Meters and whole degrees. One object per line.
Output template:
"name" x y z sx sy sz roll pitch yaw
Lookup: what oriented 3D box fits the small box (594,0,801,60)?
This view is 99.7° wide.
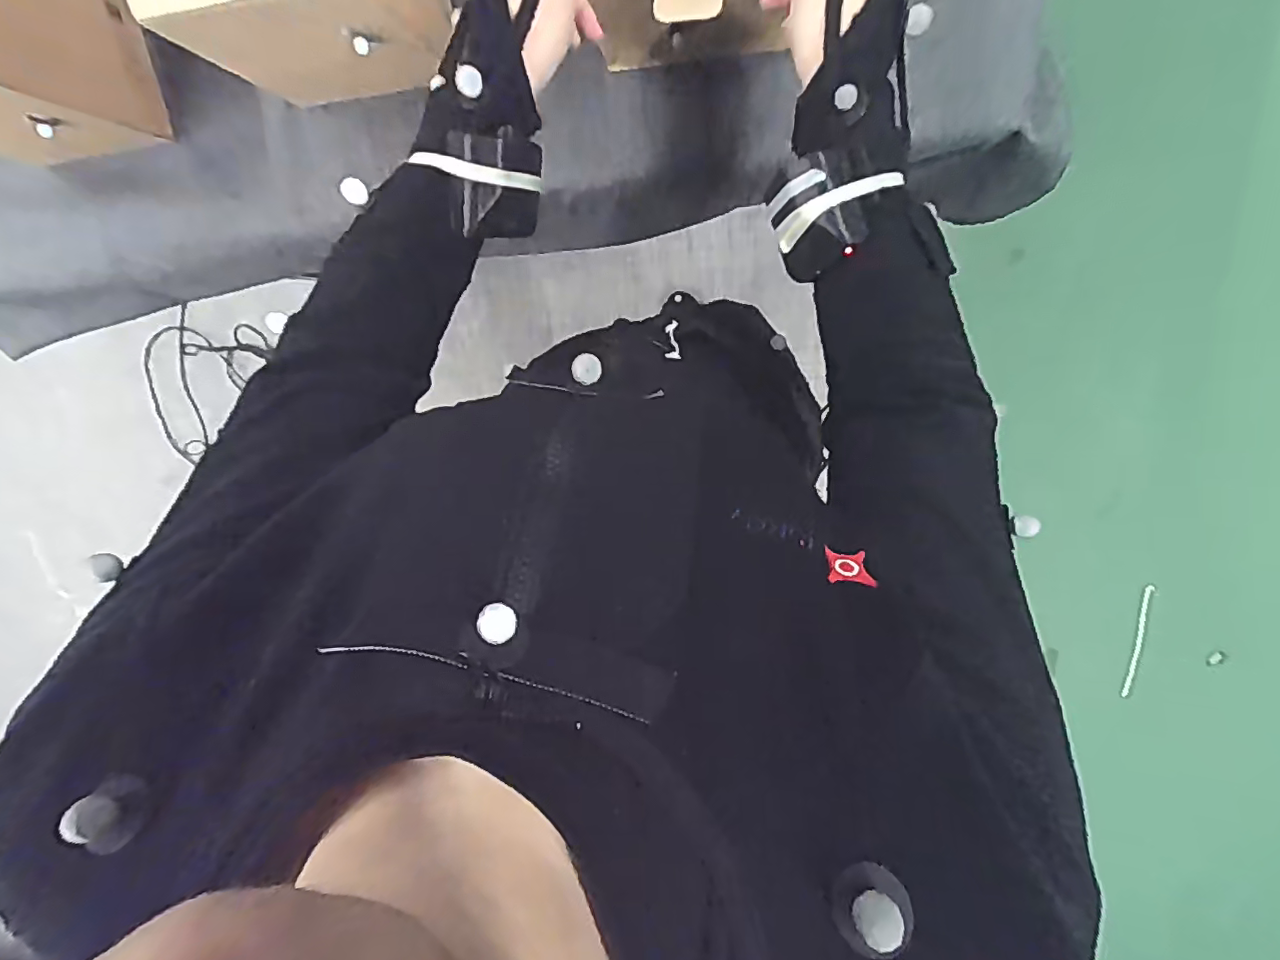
"small box" 0.038 -0.441 0.381 0.168 0.176 0.179 -1 108 8

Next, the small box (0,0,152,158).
"small box" -0.589 -0.406 0.476 0.179 0.176 0.168 -4 106 10
